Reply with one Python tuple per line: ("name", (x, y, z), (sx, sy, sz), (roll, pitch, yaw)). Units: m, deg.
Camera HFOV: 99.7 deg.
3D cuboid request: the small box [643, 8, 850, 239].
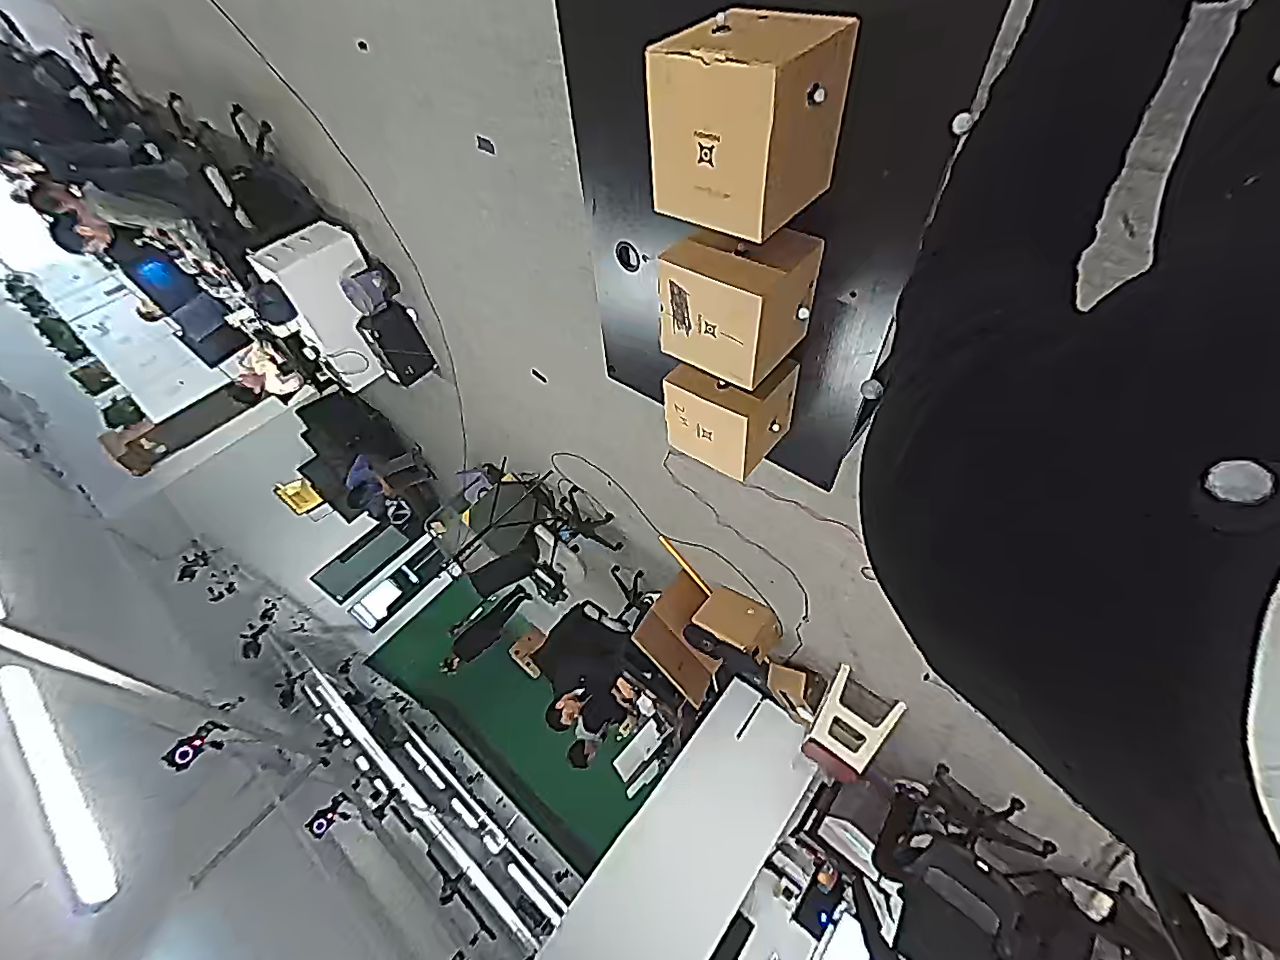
("small box", (0.125, -0.425, 0.640), (0.168, 0.176, 0.179), (32, 153, 28))
